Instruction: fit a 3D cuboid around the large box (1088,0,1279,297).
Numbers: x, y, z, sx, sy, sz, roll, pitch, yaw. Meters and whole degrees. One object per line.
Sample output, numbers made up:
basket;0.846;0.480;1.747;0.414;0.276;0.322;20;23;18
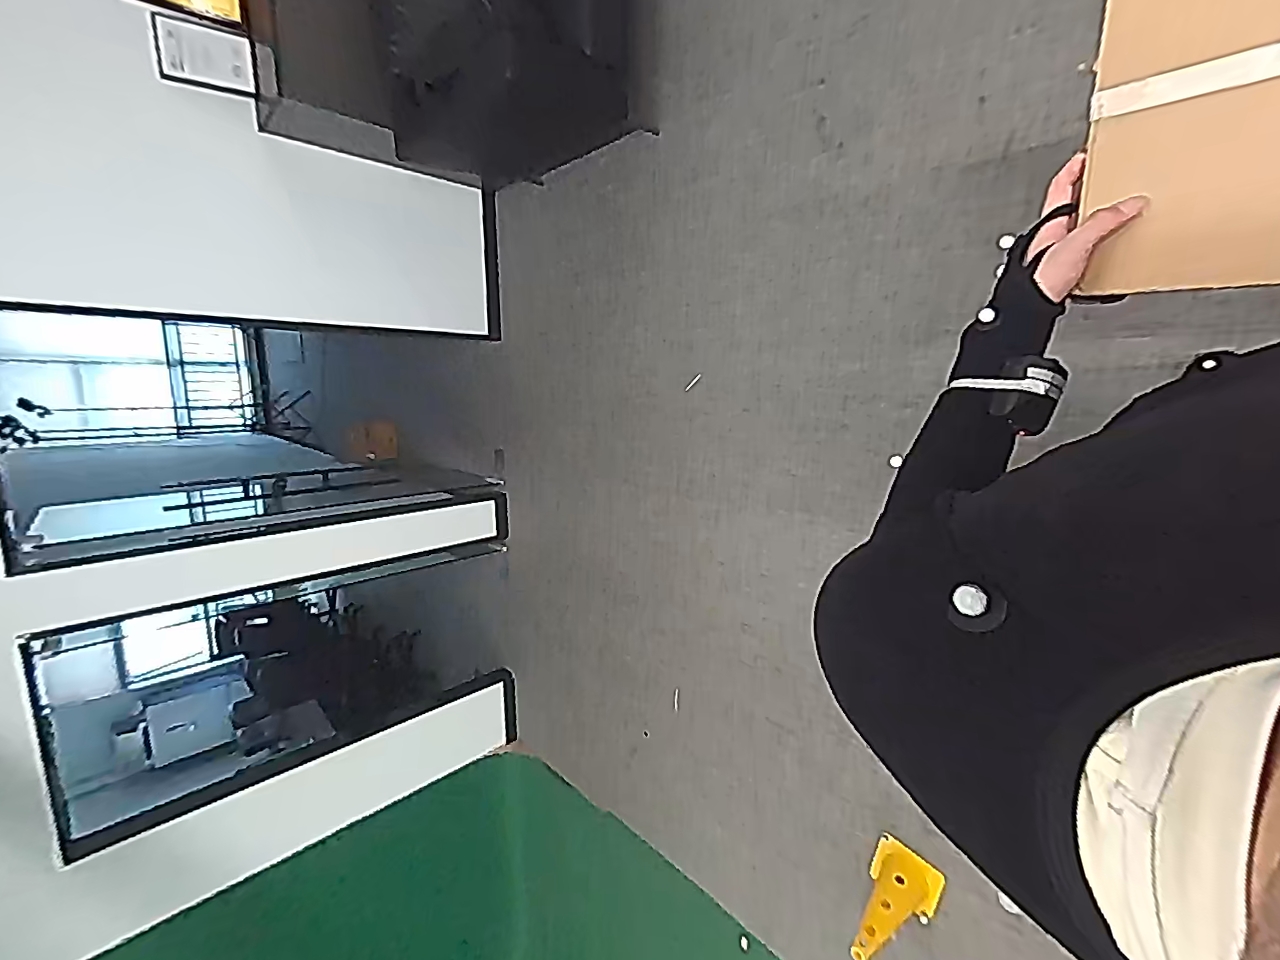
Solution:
large box;0.646;-0.334;0.420;0.408;0.320;0.320;12;116;46
